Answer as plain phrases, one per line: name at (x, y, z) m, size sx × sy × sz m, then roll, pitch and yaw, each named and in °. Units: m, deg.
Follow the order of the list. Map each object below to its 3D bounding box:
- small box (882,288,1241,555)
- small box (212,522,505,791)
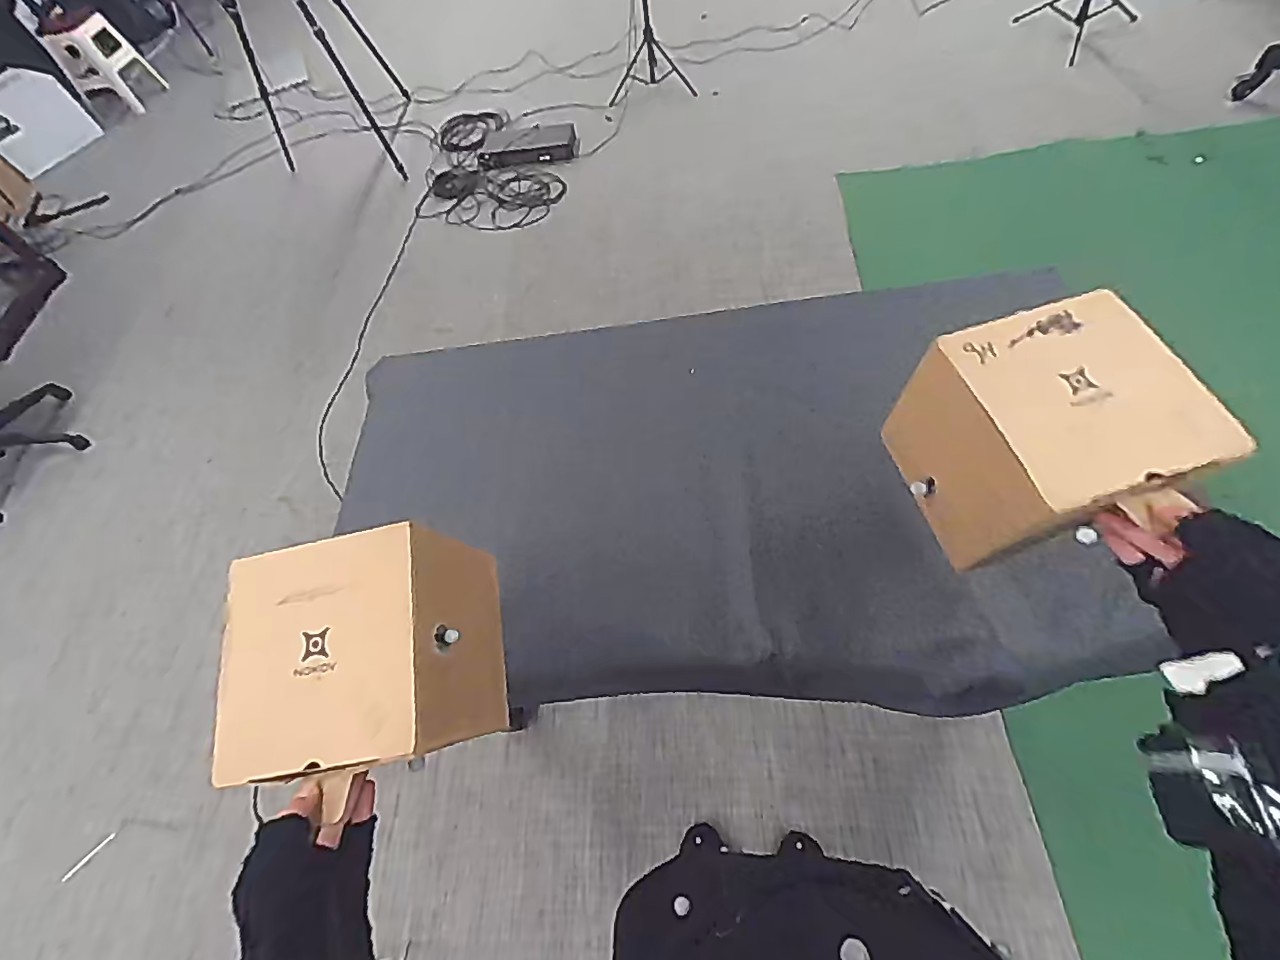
small box at (0.363, -0.040, 0.513) m, size 0.168 × 0.176 × 0.179 m, roll -16°, pitch 65°, yaw -2°
small box at (-0.232, 0.154, 0.487) m, size 0.168 × 0.176 × 0.179 m, roll -13°, pitch 70°, yaw 6°
